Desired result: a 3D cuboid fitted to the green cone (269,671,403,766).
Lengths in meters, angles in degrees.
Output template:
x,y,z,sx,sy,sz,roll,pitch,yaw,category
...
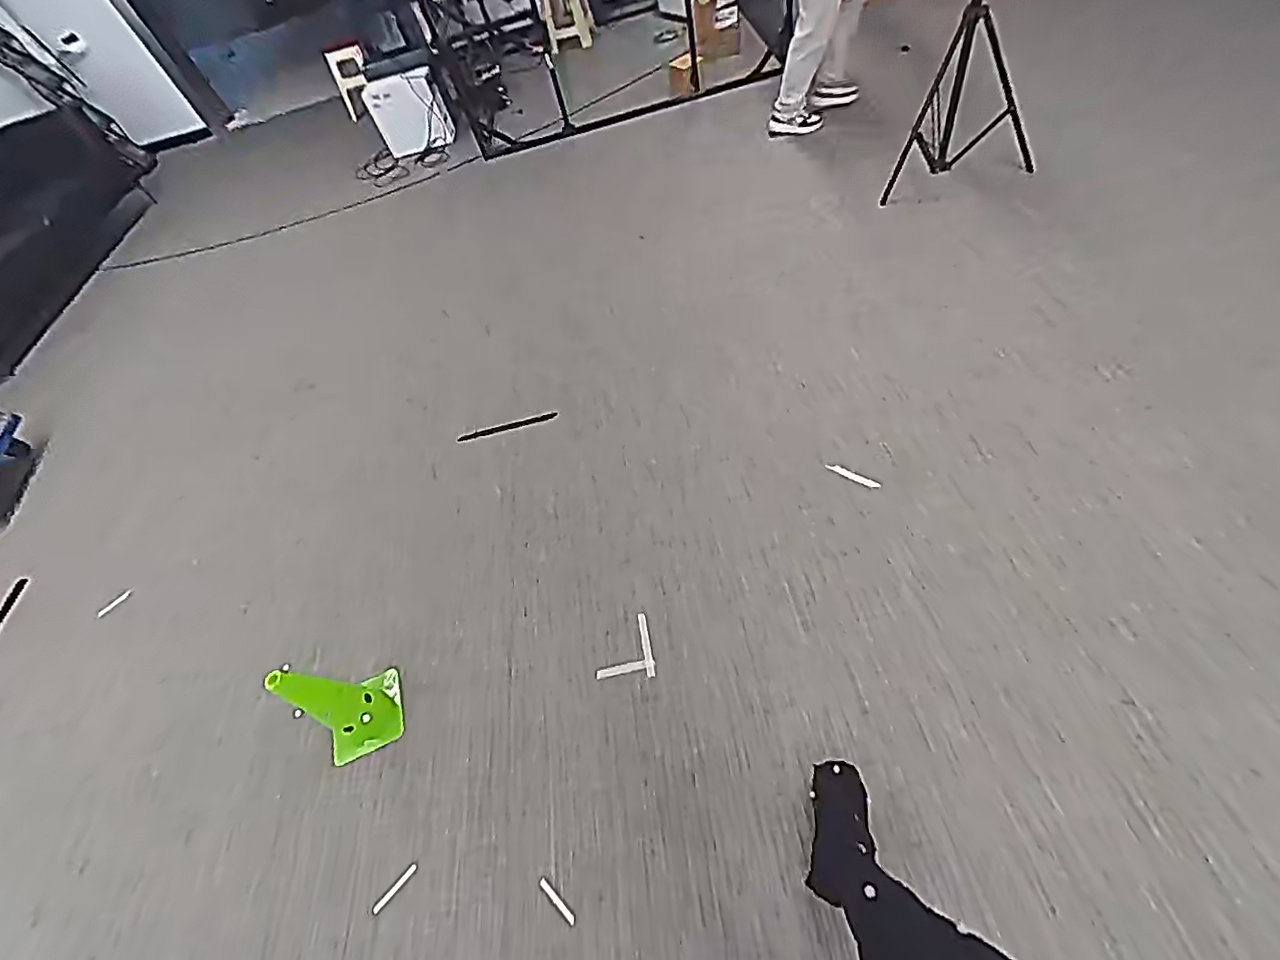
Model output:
x,y,z,sx,sy,sz,roll,pitch,yaw,category
-0.792,0.561,1.363,0.202,0.368,0.200,-24,53,-5,green cone
